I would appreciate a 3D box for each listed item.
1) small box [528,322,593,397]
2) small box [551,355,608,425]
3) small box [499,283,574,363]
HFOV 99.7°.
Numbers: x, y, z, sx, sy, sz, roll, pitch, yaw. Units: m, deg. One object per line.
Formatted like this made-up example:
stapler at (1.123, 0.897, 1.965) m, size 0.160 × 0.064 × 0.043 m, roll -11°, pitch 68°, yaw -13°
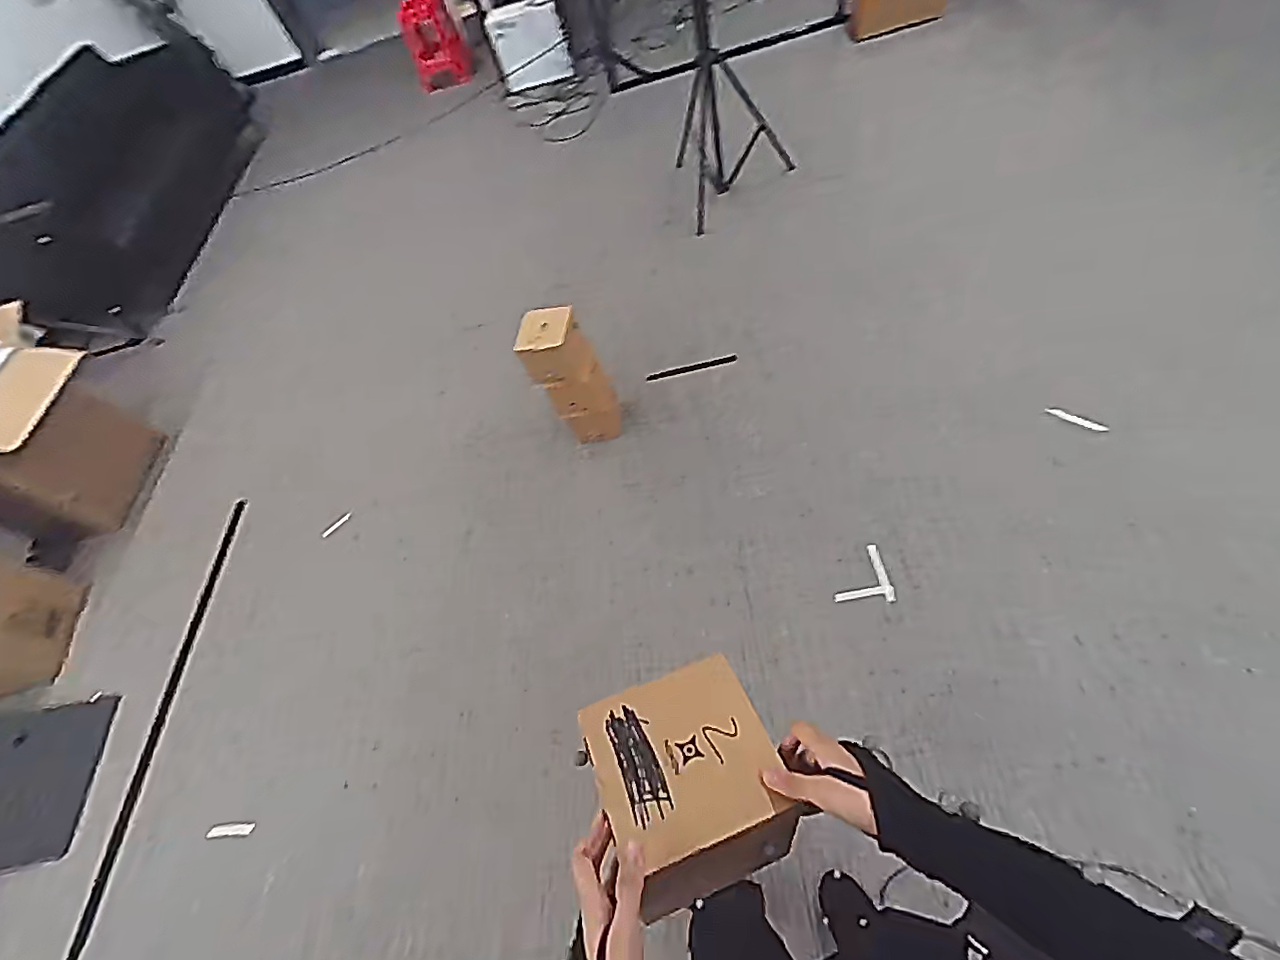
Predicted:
small box at (-0.266, -0.411, 1.853) m, size 0.168 × 0.176 × 0.179 m, roll -7°, pitch 59°, yaw 13°
small box at (-0.218, -0.329, 1.983) m, size 0.168 × 0.176 × 0.179 m, roll -9°, pitch 58°, yaw 11°
small box at (-0.322, -0.498, 1.723) m, size 0.168 × 0.176 × 0.179 m, roll -1°, pitch 60°, yaw 16°
